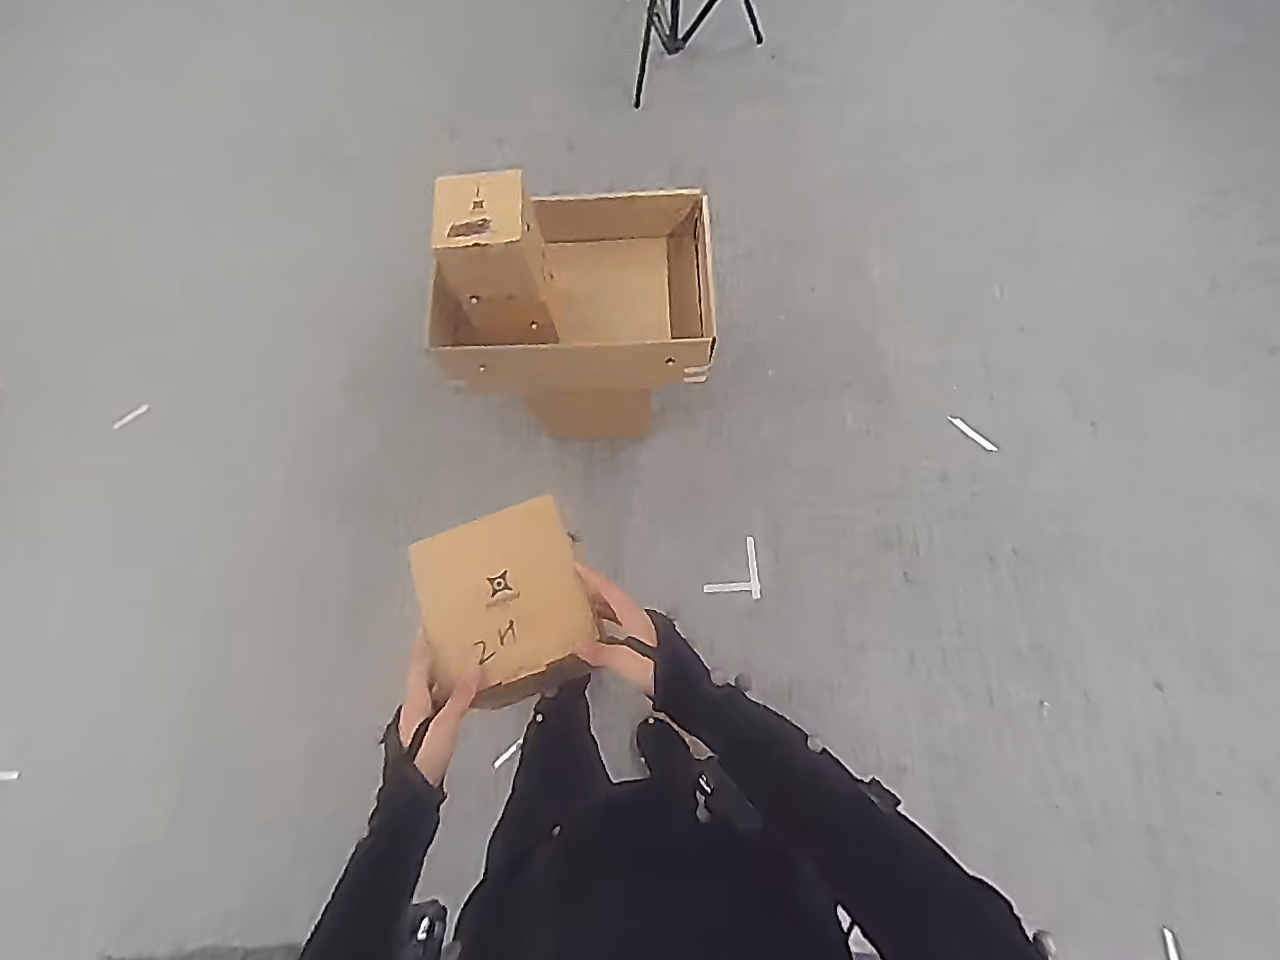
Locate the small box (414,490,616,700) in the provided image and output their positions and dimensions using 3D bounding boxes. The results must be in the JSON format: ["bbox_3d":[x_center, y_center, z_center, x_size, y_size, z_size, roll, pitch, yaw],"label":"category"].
[{"bbox_3d":[-0.136,0.141,0.629,0.168,0.176,0.179,-20,67,-4],"label":"small box"}]

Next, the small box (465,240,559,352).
[{"bbox_3d":[-0.280,-0.409,1.219,0.179,0.176,0.168,-6,72,1],"label":"small box"}]

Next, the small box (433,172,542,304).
[{"bbox_3d":[-0.291,-0.464,1.065,0.168,0.176,0.179,-5,70,1],"label":"small box"}]
